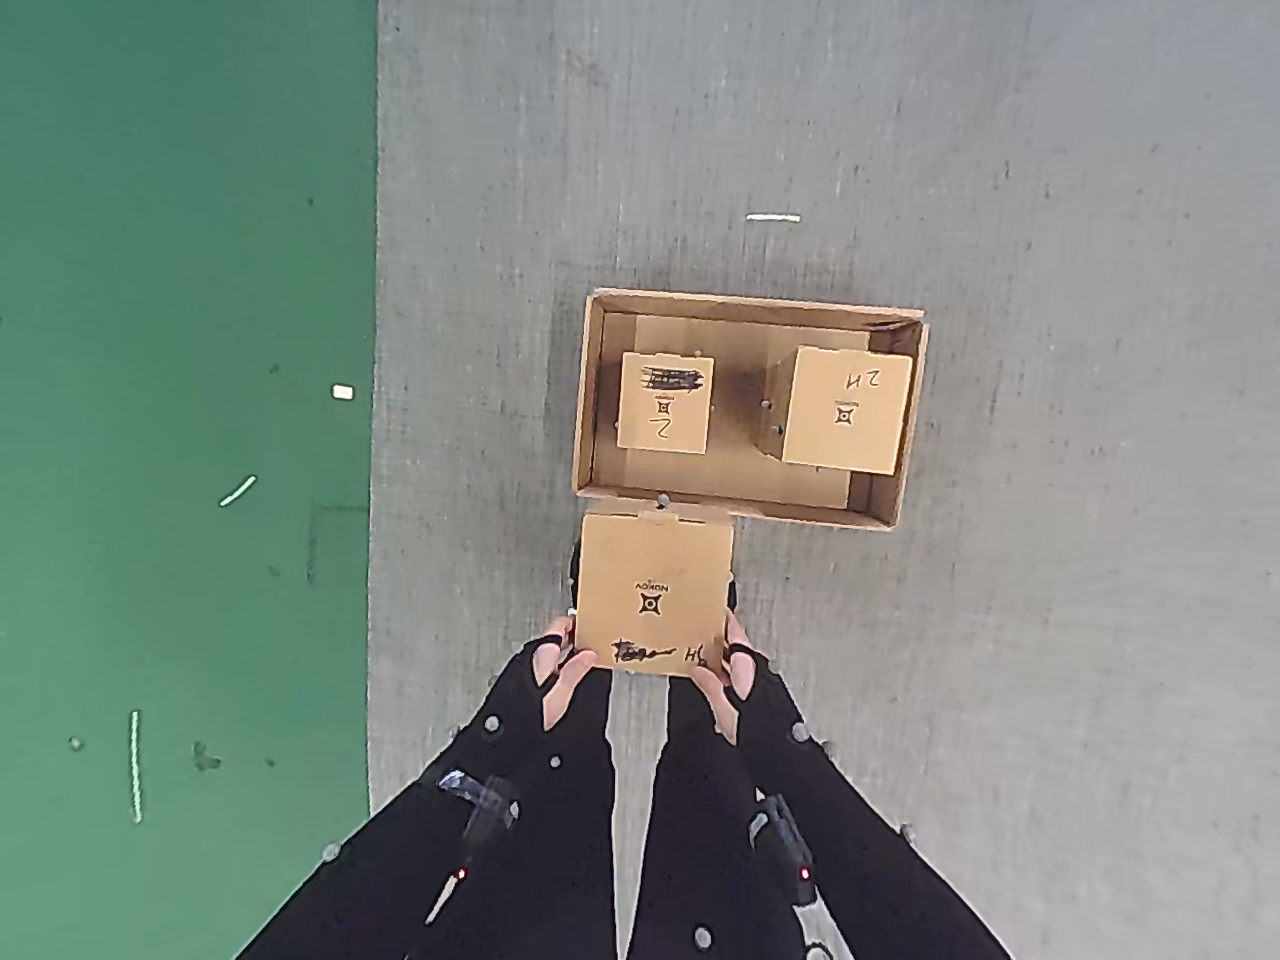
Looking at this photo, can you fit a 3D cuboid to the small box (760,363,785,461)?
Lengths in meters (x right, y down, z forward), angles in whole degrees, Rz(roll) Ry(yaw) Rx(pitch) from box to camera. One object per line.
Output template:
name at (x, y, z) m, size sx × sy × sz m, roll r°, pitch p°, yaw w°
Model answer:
small box at (0.329, -0.122, 1.037) m, size 0.168 × 0.176 × 0.179 m, roll 7°, pitch 97°, yaw 6°

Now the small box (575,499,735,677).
small box at (0.022, 0.120, 0.676) m, size 0.168 × 0.176 × 0.179 m, roll 5°, pitch 93°, yaw 6°

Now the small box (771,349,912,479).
small box at (0.311, -0.106, 0.873) m, size 0.168 × 0.176 × 0.179 m, roll 7°, pitch 97°, yaw 6°
